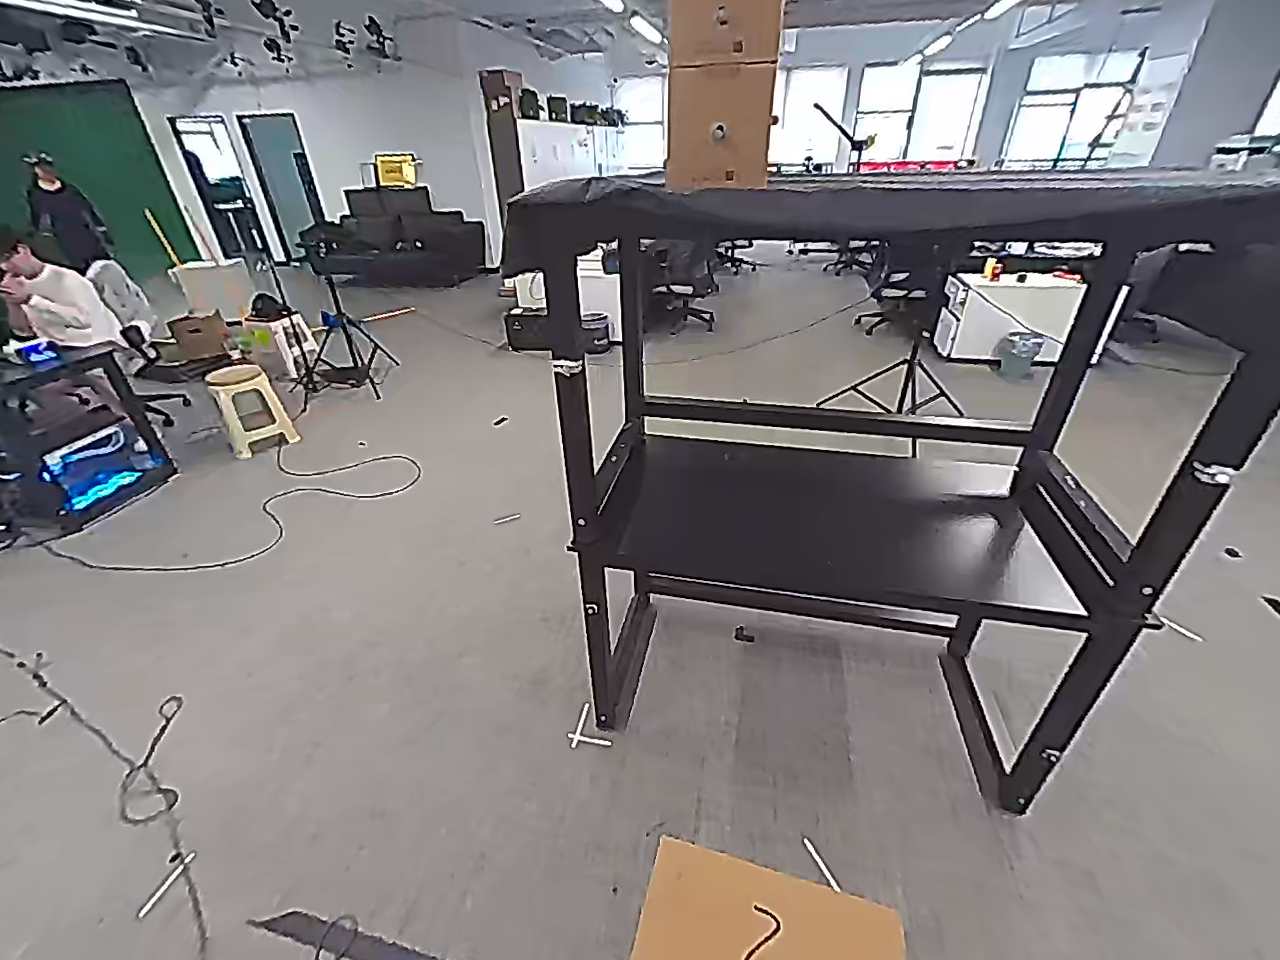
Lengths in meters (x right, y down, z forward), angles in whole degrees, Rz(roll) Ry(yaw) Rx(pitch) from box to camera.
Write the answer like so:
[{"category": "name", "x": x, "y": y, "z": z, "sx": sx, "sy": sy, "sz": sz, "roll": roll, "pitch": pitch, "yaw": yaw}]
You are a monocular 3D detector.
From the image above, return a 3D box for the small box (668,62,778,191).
[{"category": "small box", "x": 0.140, "y": -0.588, "z": 0.917, "sx": 0.168, "sy": 0.176, "sz": 0.179, "roll": 4, "pitch": 31, "yaw": 8}]

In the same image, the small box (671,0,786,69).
[{"category": "small box", "x": 0.139, "y": -0.732, "z": 0.836, "sx": 0.168, "sy": 0.176, "sz": 0.179, "roll": 3, "pitch": 31, "yaw": 9}]
